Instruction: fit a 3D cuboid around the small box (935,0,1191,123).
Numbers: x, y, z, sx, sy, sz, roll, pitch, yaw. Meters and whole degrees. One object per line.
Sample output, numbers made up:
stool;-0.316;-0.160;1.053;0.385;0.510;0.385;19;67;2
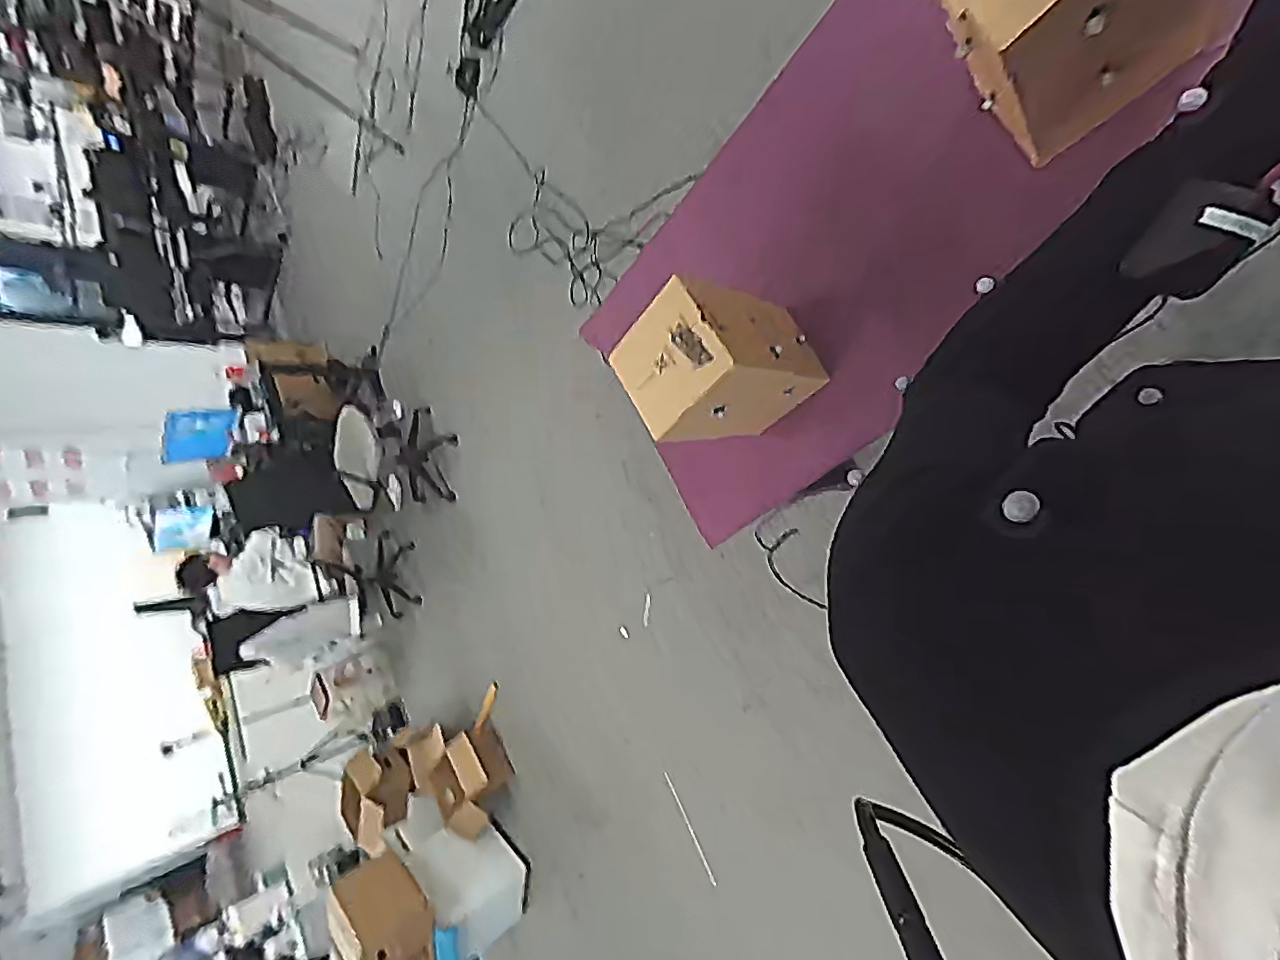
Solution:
small box;0.401;-0.491;0.513;0.179;0.176;0.168;-35;72;40

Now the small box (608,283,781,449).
small box;0.090;-0.166;0.825;0.179;0.176;0.168;-43;67;36

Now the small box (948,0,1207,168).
small box;0.506;-0.516;0.637;0.179;0.176;0.168;-35;72;40
